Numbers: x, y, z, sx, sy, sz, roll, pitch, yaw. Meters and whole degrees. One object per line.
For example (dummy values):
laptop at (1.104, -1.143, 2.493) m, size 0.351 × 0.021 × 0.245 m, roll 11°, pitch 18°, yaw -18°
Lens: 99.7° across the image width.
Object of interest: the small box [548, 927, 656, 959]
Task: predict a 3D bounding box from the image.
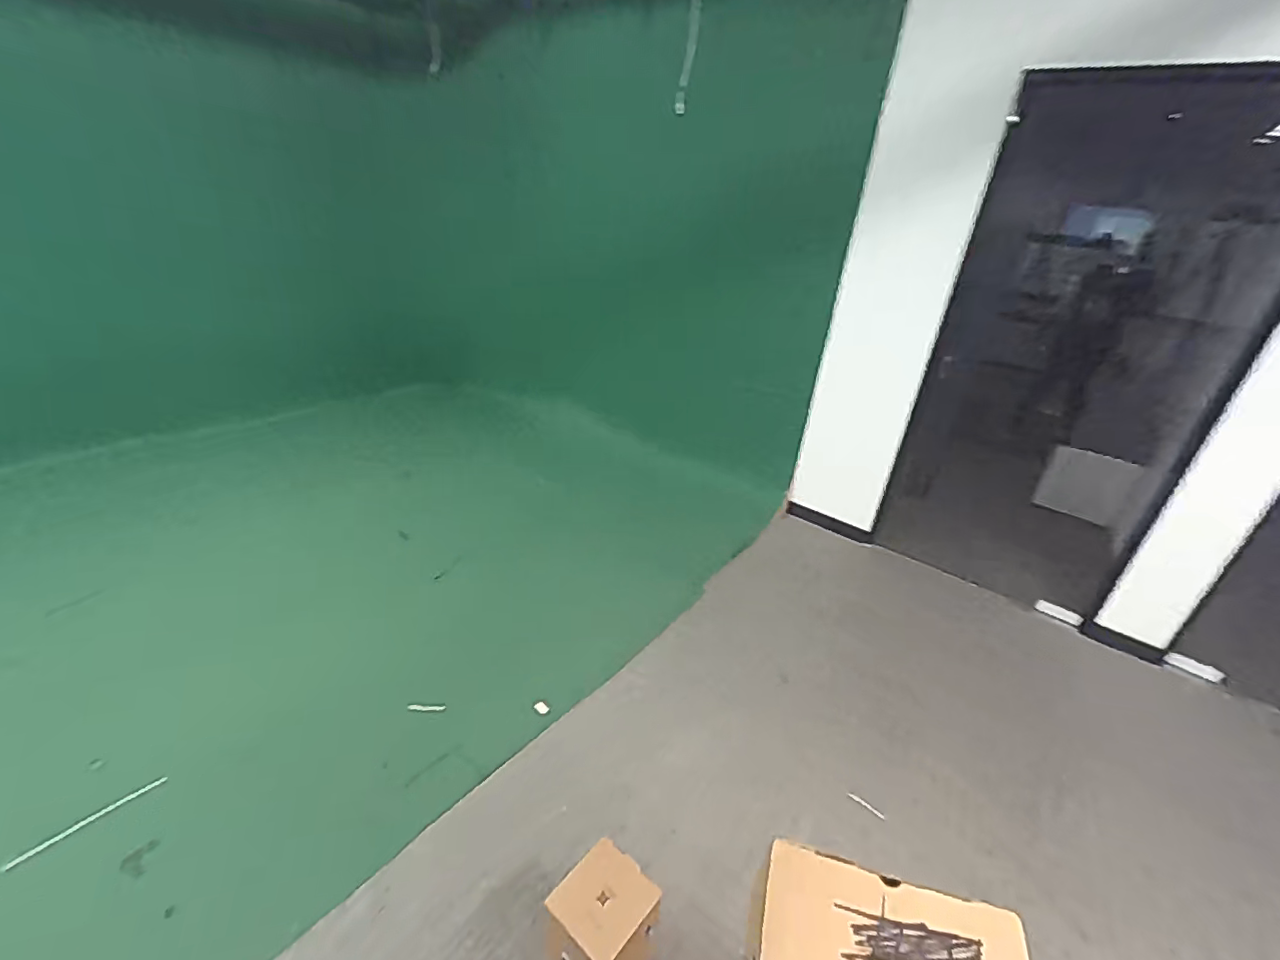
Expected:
small box at (-0.084, 1.031, 1.193) m, size 0.168 × 0.176 × 0.179 m, roll 28°, pitch 37°, yaw 36°

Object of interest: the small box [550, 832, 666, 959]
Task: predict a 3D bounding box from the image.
small box at (-0.070, 0.891, 1.112) m, size 0.168 × 0.176 × 0.179 m, roll 25°, pitch 35°, yaw 33°

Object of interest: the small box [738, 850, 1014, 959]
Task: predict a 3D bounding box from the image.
small box at (0.152, 0.405, 0.381) m, size 0.168 × 0.176 × 0.179 m, roll 9°, pitch 45°, yaw 14°
